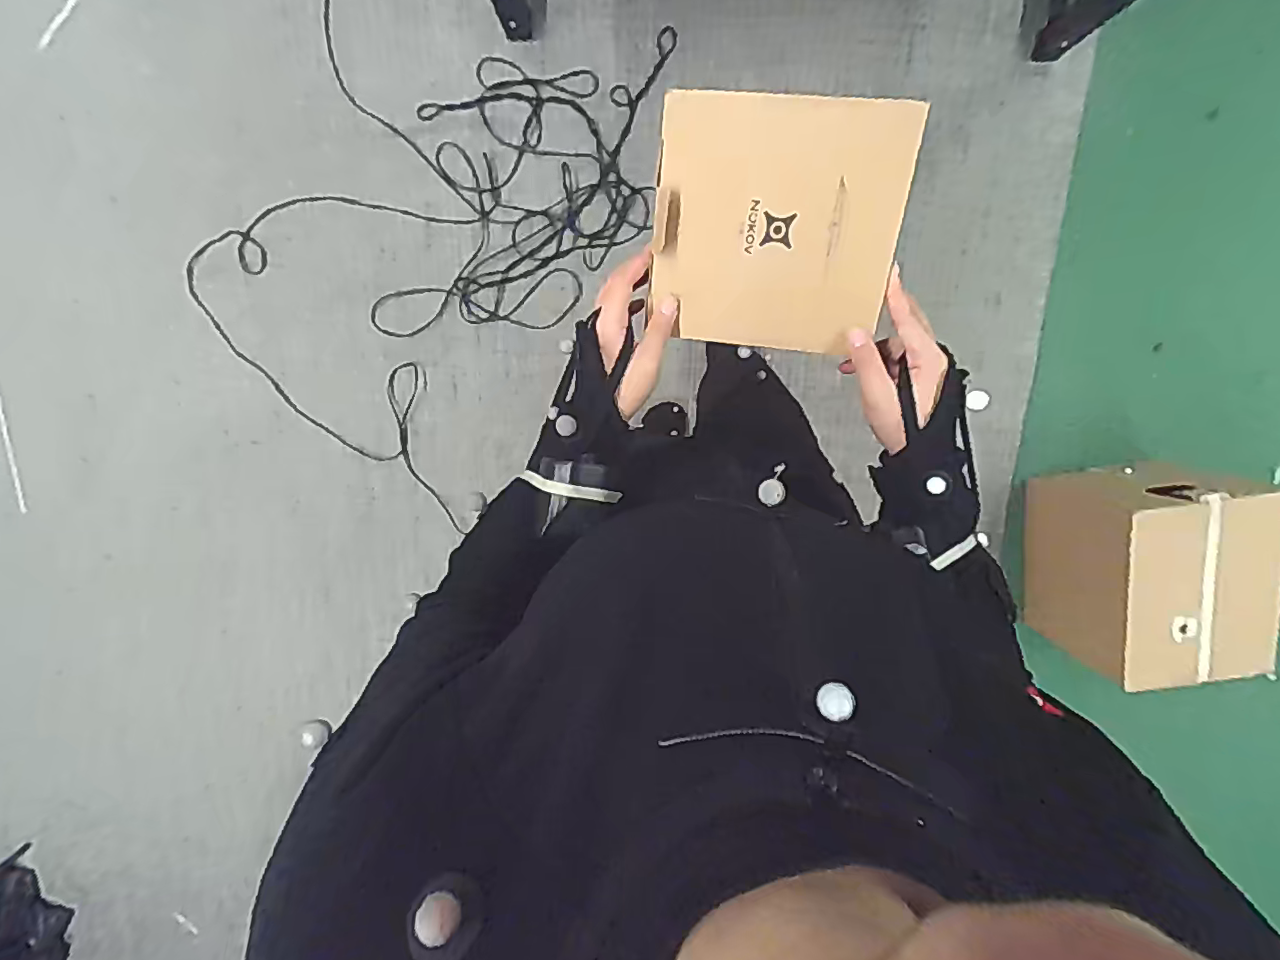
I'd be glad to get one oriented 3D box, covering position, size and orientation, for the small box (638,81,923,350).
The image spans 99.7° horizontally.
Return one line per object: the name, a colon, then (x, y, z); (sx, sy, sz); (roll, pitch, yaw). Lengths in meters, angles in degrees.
small box: (0.101, -0.209, 0.455); (0.179, 0.176, 0.168); (6, 112, 6)
